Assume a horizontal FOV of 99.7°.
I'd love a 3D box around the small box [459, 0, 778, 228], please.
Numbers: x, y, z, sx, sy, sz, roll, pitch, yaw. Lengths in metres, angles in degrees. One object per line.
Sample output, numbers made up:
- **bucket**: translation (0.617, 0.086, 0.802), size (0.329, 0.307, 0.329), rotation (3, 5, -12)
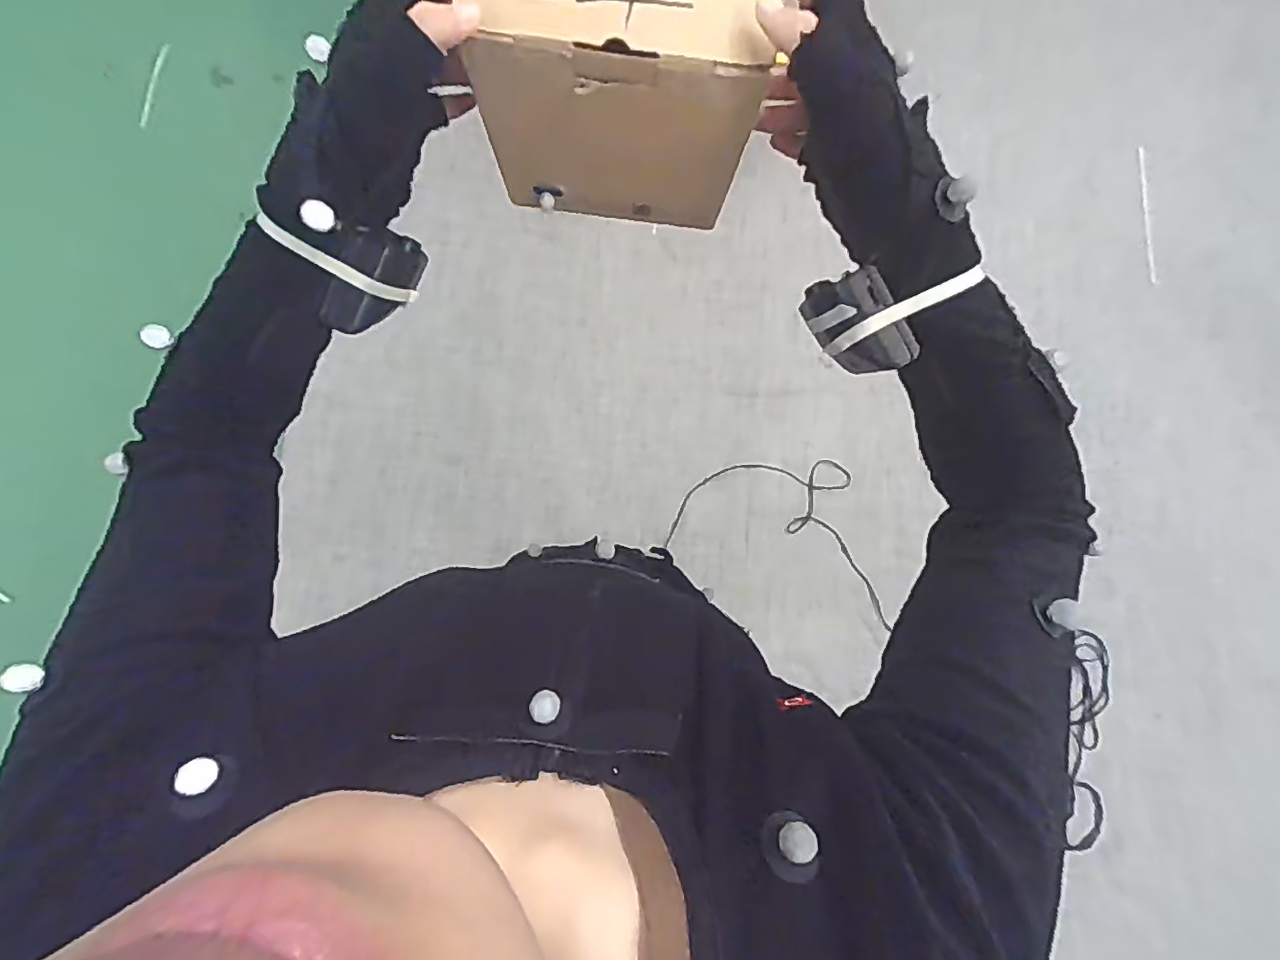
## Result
- **small box**: translation (-0.007, -0.296, 0.361), size (0.168, 0.176, 0.179), rotation (6, 87, -3)
